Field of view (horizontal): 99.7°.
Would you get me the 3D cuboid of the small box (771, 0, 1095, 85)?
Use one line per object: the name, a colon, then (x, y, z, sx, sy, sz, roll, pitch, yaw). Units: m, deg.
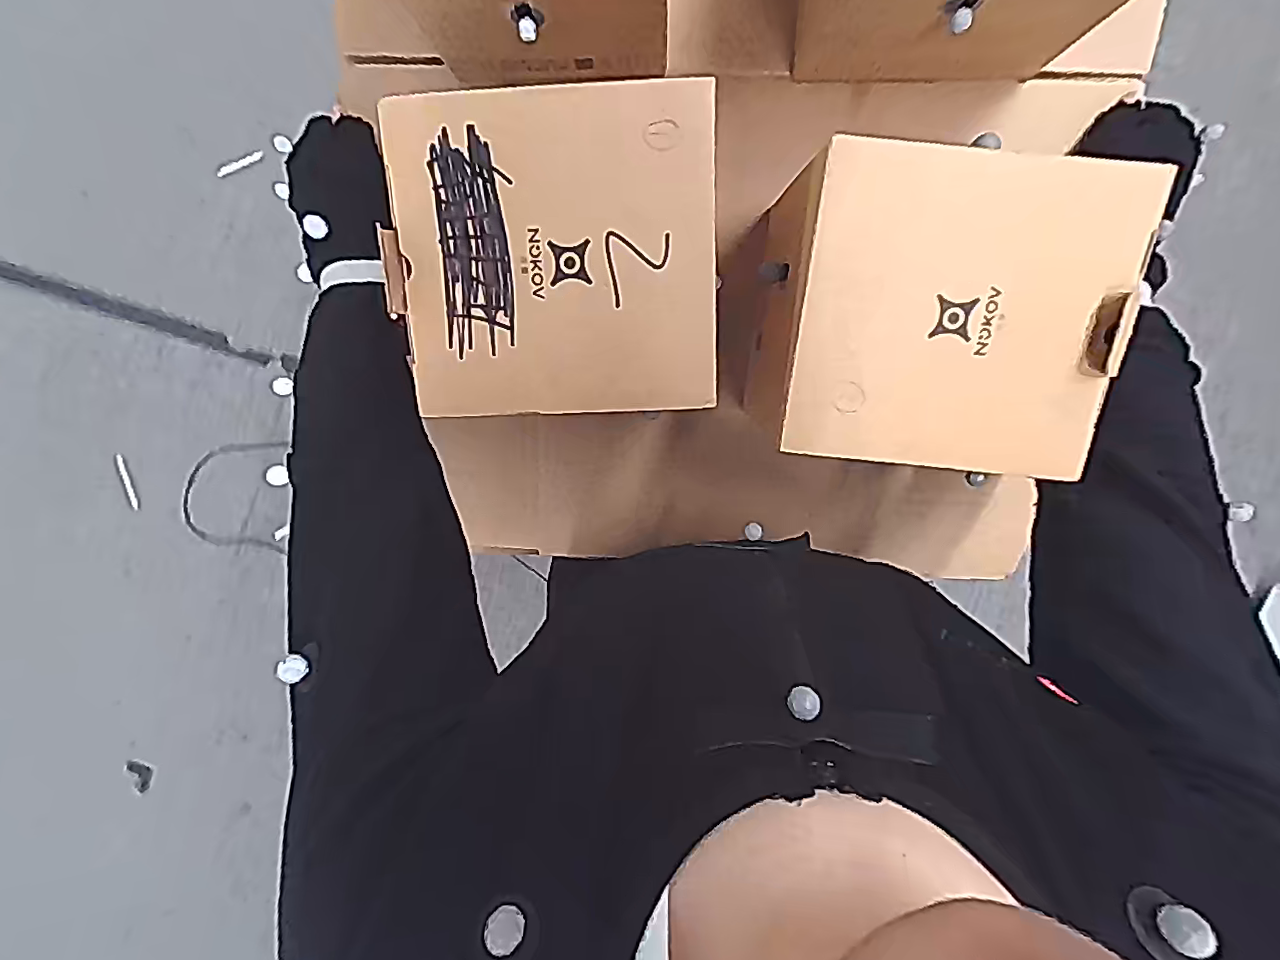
small box: (0.183, -0.358, 0.310, 0.179, 0.176, 0.168, 2, 103, 3)

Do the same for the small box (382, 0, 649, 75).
small box: (-0.078, -0.374, 0.320, 0.168, 0.176, 0.179, 1, 102, 2)
